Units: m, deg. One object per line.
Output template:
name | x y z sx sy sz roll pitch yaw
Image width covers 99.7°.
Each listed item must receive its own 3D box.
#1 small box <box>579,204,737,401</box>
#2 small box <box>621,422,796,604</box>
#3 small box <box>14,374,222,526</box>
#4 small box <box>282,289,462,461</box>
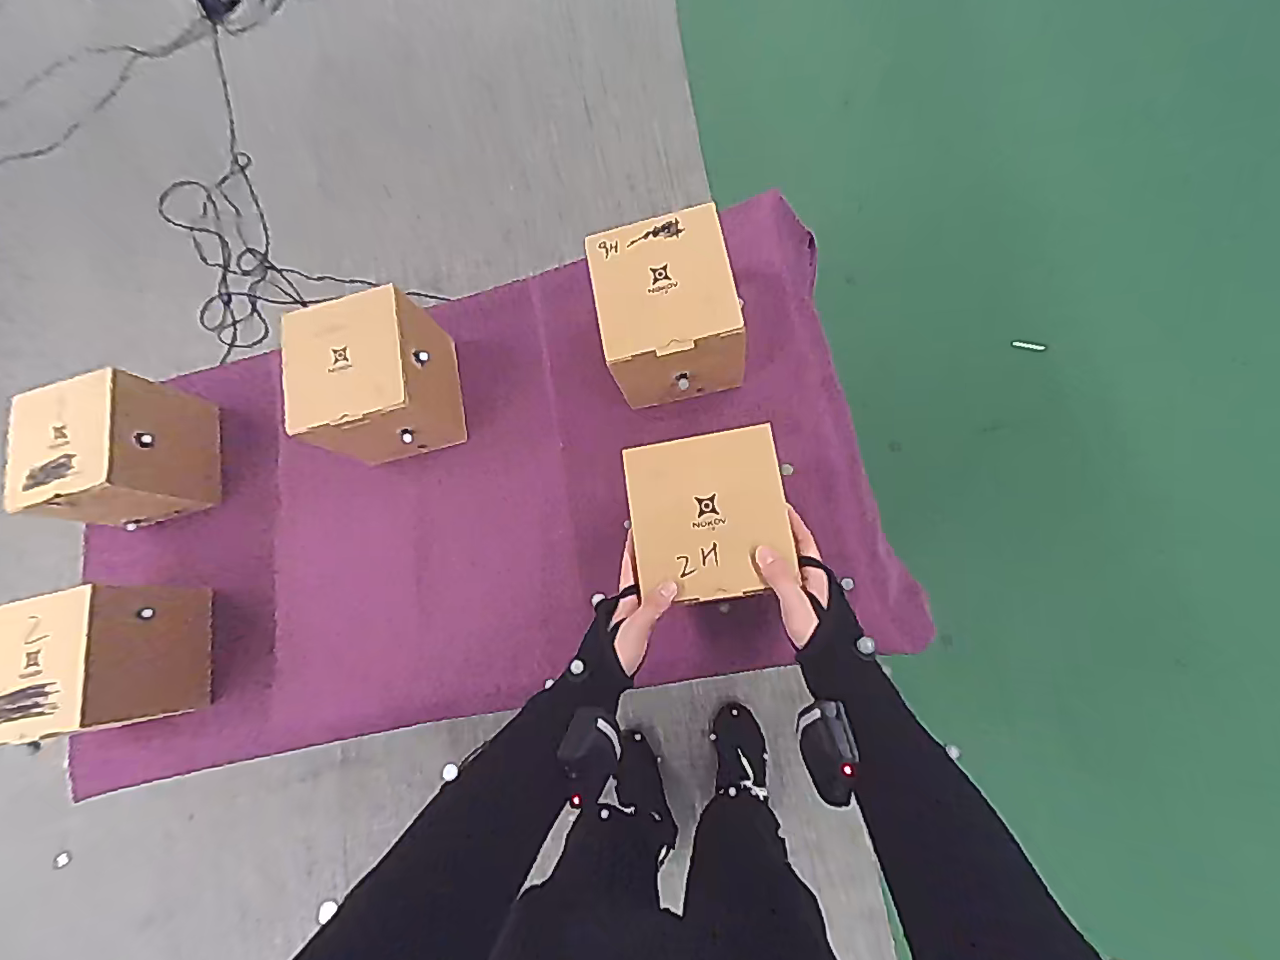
small box | 0.032 -0.217 0.717 0.168 0.176 0.179 -13 77 8
small box | 0.082 0.051 0.647 0.168 0.176 0.179 -10 76 9
small box | -0.779 -0.033 0.824 0.168 0.176 0.179 -15 76 7
small box | -0.372 -0.135 0.774 0.168 0.176 0.179 -13 76 7
